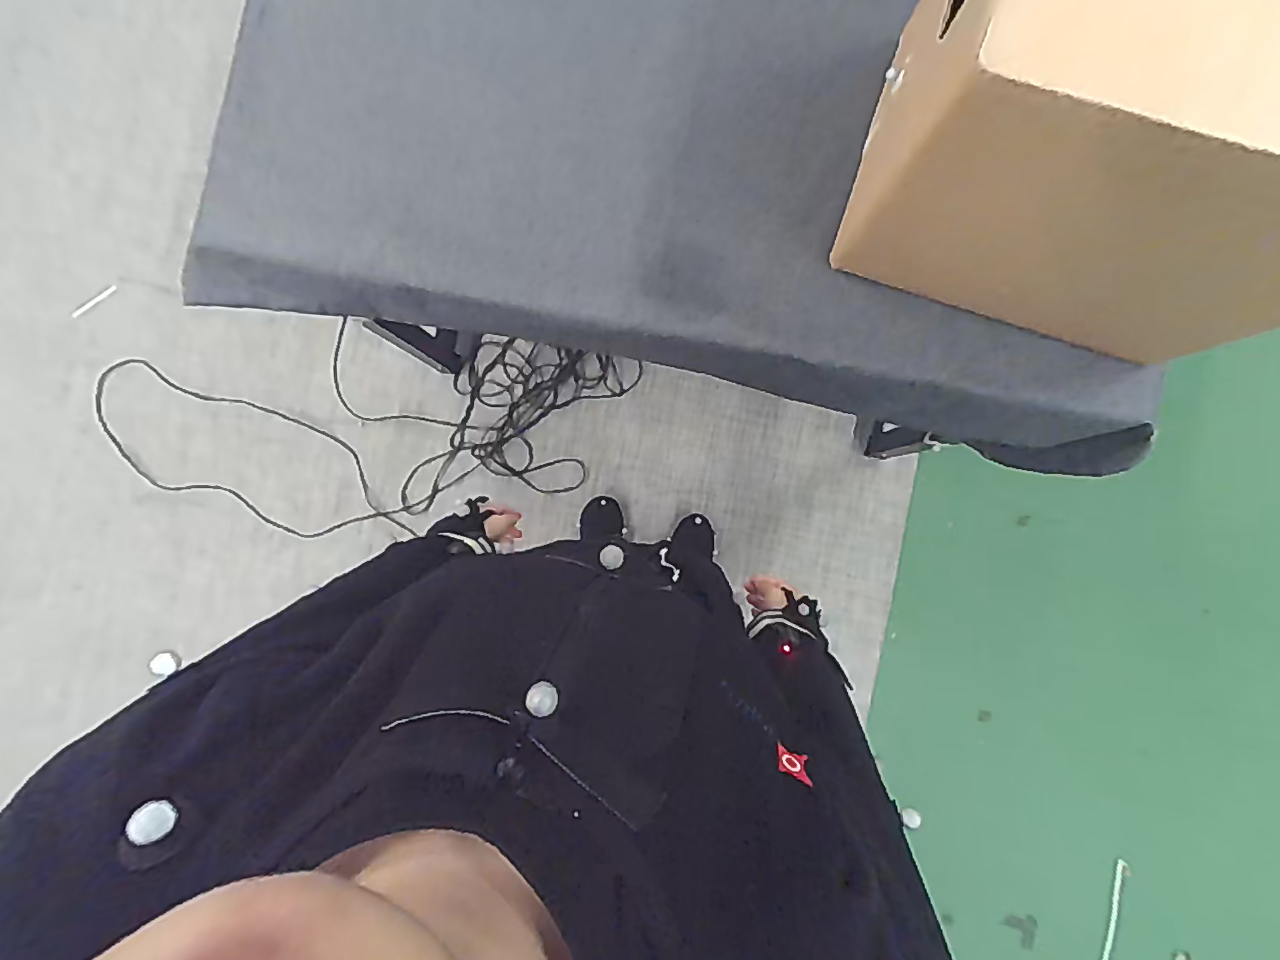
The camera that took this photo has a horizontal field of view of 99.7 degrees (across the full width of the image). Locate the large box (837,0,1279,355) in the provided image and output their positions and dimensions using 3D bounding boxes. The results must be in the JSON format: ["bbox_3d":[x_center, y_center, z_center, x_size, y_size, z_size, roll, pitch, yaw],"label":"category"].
[{"bbox_3d":[0.465,-0.356,0.514,0.408,0.320,0.320,18,88,1],"label":"large box"}]
